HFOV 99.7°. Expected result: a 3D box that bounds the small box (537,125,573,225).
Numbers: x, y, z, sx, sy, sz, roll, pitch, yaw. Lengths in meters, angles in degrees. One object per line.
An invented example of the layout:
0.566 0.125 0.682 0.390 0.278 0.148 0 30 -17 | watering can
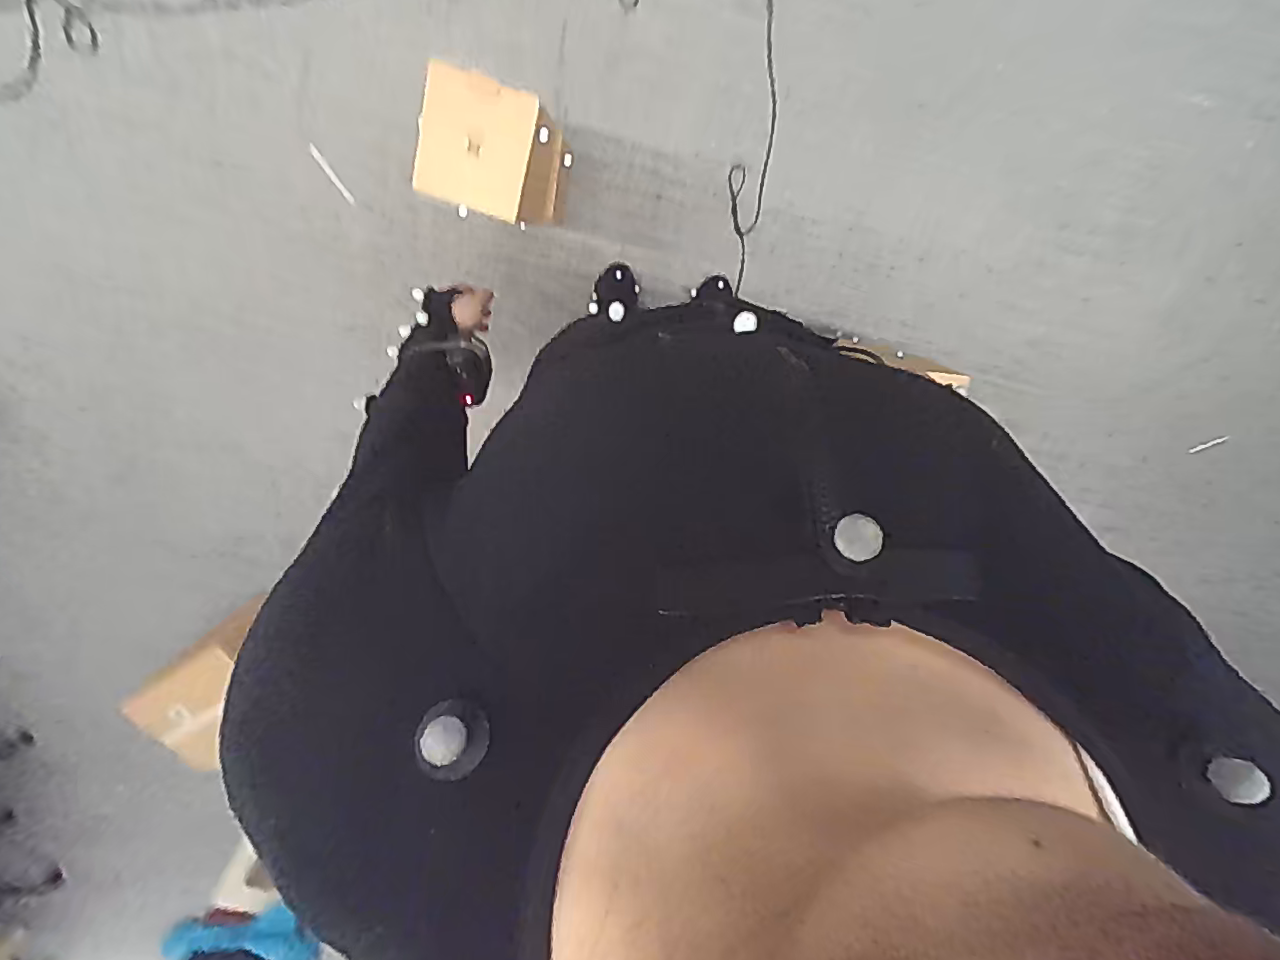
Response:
-0.246 -0.675 1.188 0.168 0.176 0.179 11 112 -4 | small box

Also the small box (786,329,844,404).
0.487 -0.277 1.364 0.179 0.176 0.168 11 113 -4 | small box

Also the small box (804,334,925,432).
0.488 -0.223 1.210 0.179 0.176 0.168 8 114 -5 | small box

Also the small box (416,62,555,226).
-0.246 -0.535 0.892 0.168 0.176 0.179 16 110 -6 | small box
